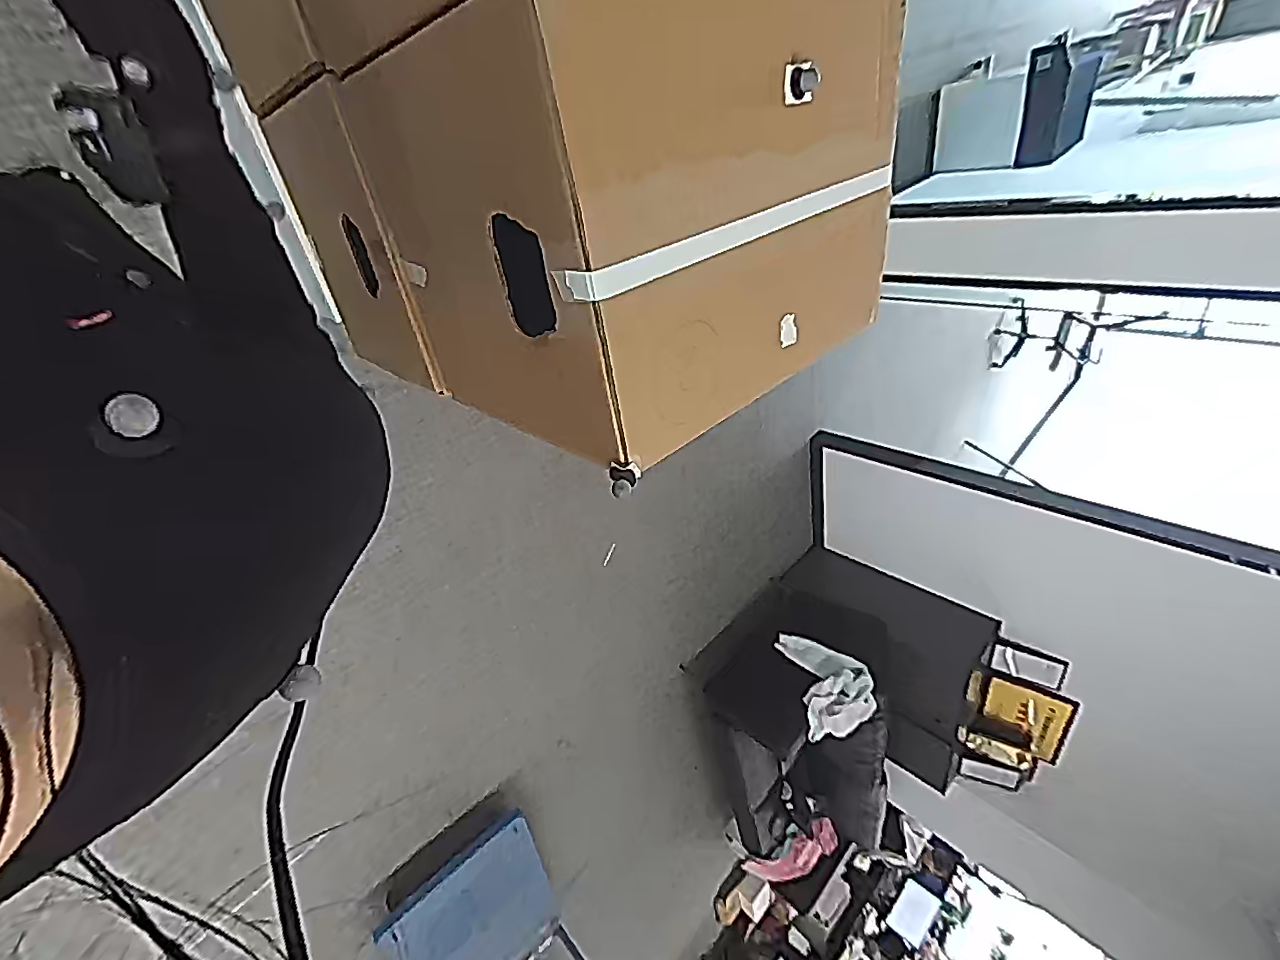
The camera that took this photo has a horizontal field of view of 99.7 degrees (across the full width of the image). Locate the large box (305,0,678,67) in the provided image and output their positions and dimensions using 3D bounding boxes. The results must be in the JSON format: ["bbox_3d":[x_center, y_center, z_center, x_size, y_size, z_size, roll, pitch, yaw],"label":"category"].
[{"bbox_3d":[-0.060,-0.536,0.374,0.408,0.320,0.320,-37,131,-30],"label":"large box"}]
